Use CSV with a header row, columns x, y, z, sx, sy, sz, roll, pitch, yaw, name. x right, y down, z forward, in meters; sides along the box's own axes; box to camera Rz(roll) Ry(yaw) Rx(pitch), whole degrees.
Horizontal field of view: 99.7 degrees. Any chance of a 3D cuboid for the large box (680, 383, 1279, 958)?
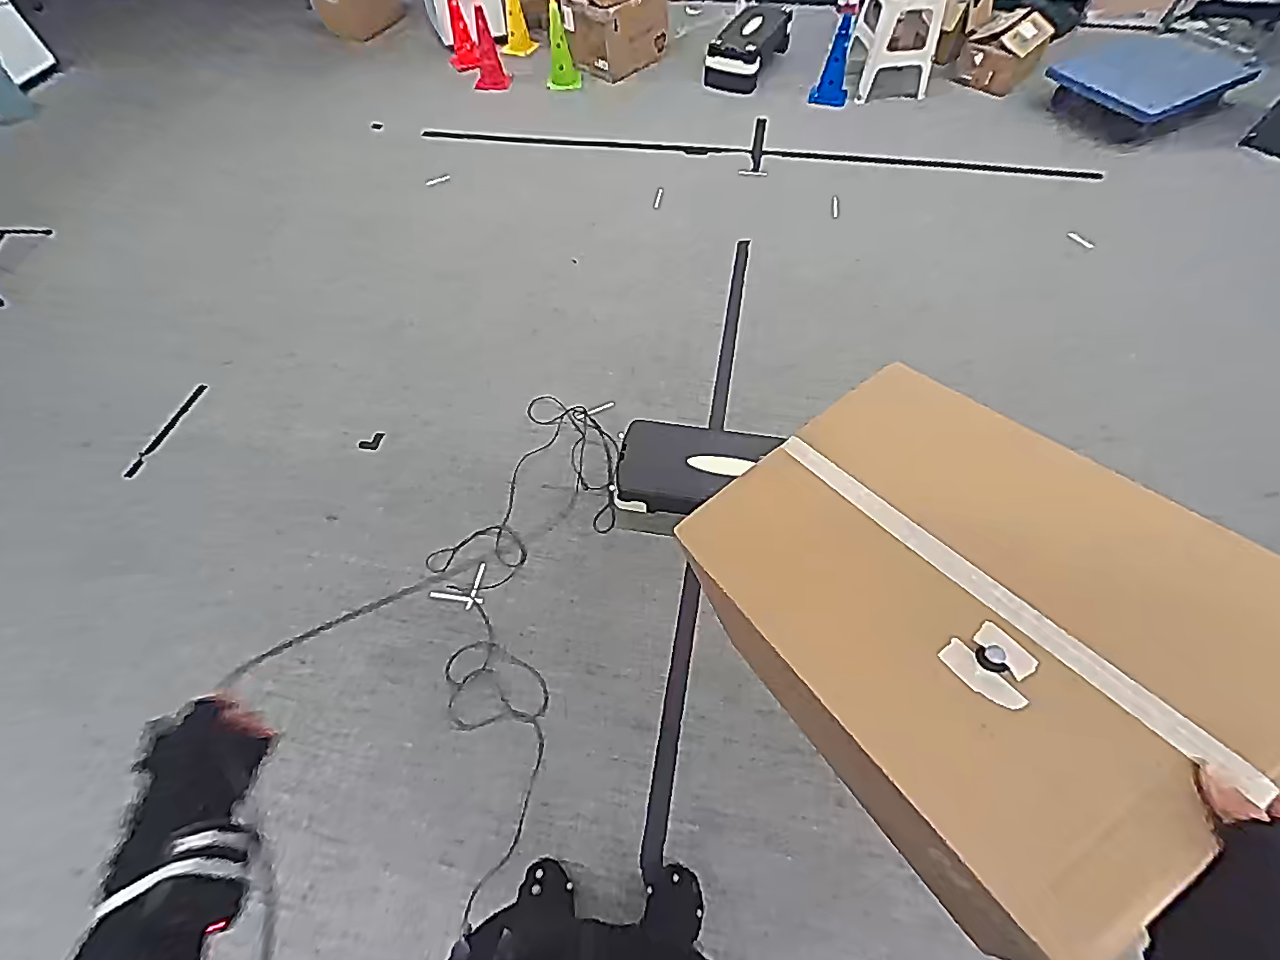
x,y,z,sx,sy,sz,roll,pitch,yaw,name
0.307,0.171,0.571,0.320,0.320,0.408,-36,48,-7,large box
